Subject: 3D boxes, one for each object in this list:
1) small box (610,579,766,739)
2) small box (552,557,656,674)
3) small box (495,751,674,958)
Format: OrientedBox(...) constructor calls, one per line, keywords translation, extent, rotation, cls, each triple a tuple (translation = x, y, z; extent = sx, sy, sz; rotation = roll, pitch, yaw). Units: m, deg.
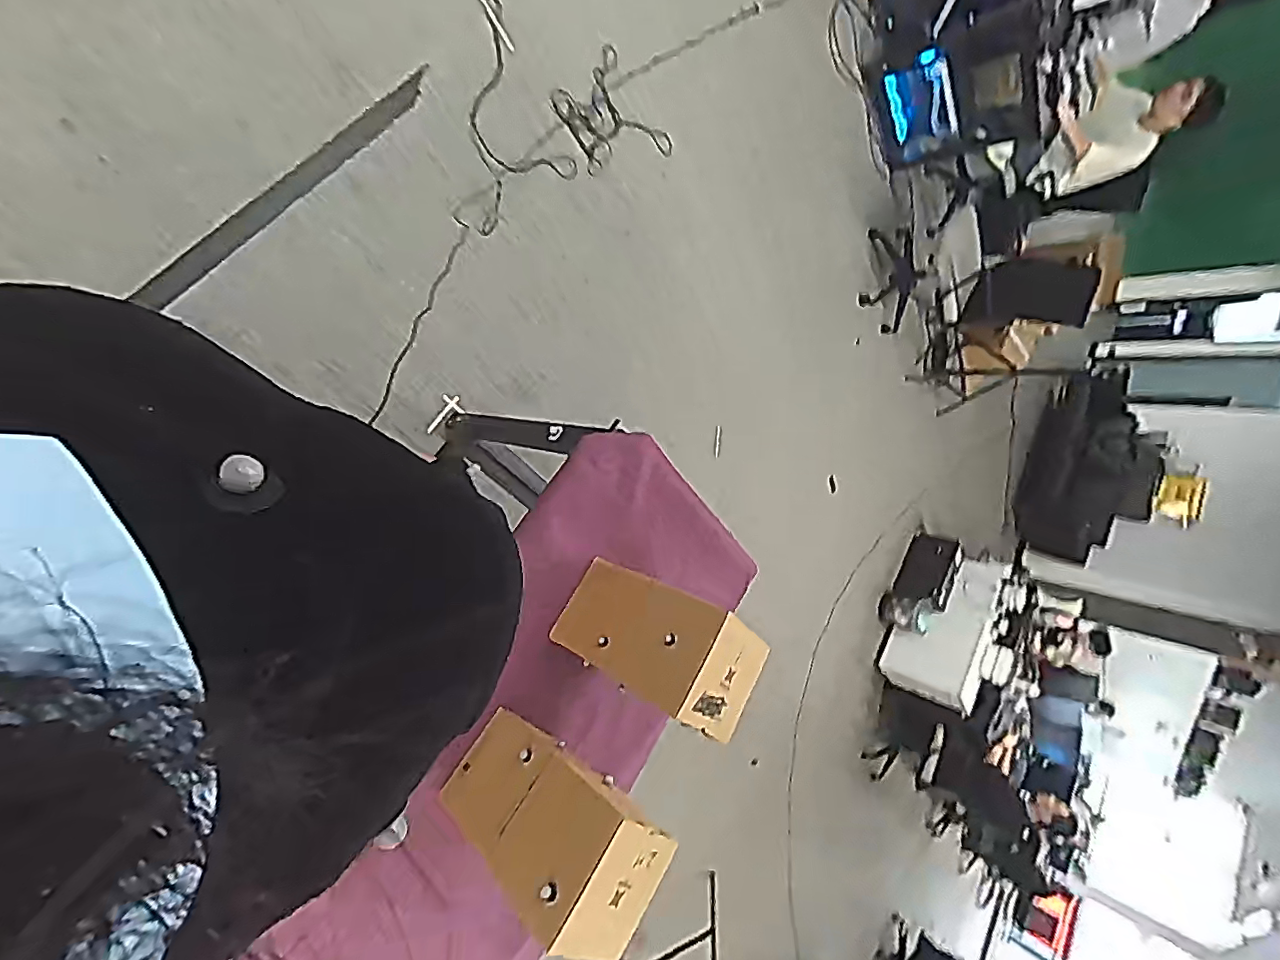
OrientedBox(translation=(0.075, 0.293, 0.906), extent=(0.168, 0.176, 0.179), rotation=(45, 67, -40), cls="small box")
OrientedBox(translation=(-0.035, 0.269, 1.026), extent=(0.168, 0.176, 0.179), rotation=(45, 68, -40), cls="small box")
OrientedBox(translation=(-0.088, 0.544, 0.799), extent=(0.179, 0.176, 0.168), rotation=(-55, 132, -21), cls="small box")
